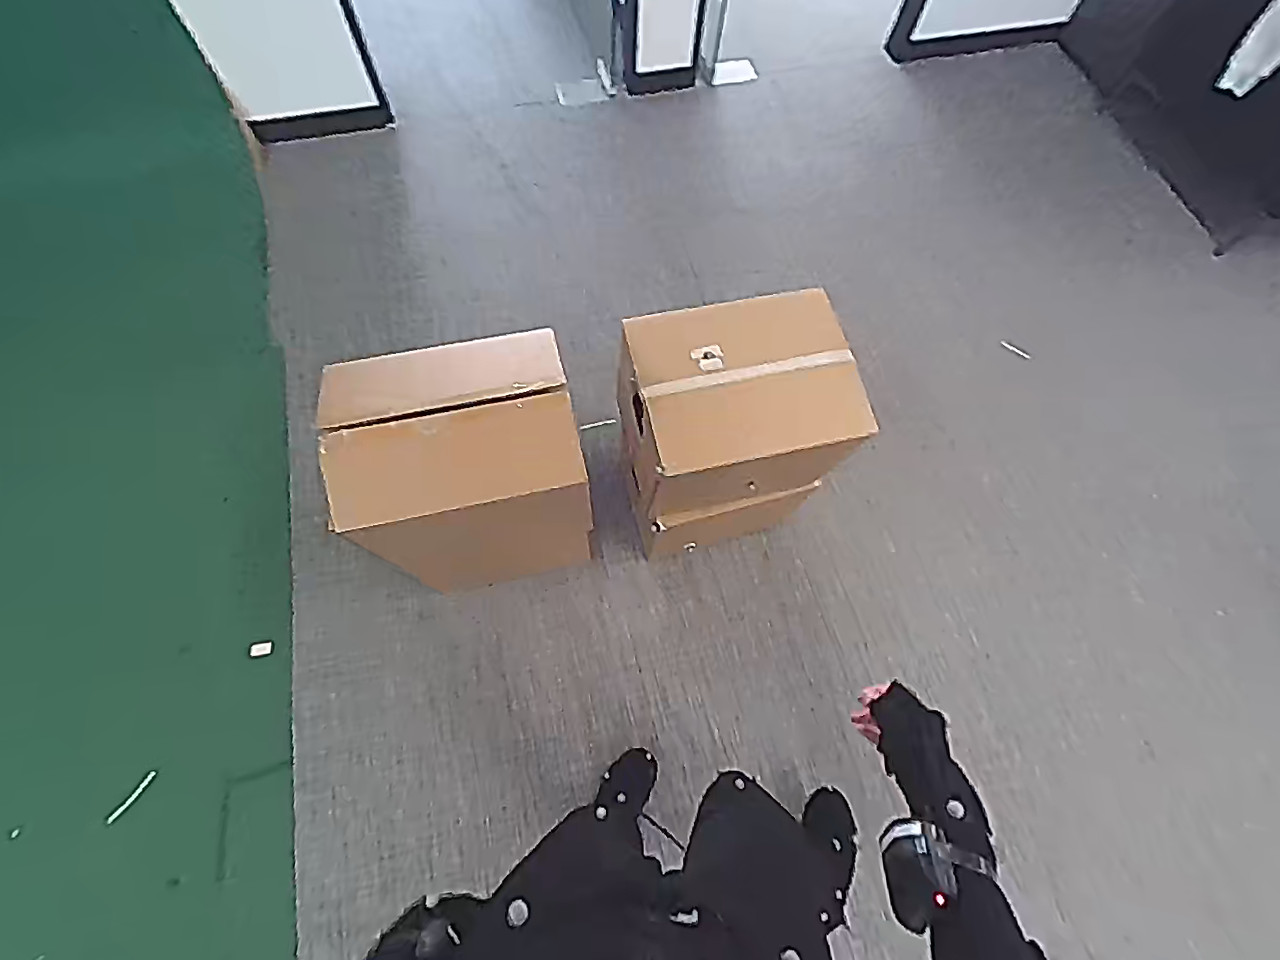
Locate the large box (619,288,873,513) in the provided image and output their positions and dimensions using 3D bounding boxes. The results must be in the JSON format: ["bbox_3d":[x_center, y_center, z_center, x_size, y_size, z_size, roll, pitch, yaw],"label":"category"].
[{"bbox_3d":[0.185,-0.146,1.122,0.408,0.320,0.320,-12,74,-7],"label":"large box"}]
